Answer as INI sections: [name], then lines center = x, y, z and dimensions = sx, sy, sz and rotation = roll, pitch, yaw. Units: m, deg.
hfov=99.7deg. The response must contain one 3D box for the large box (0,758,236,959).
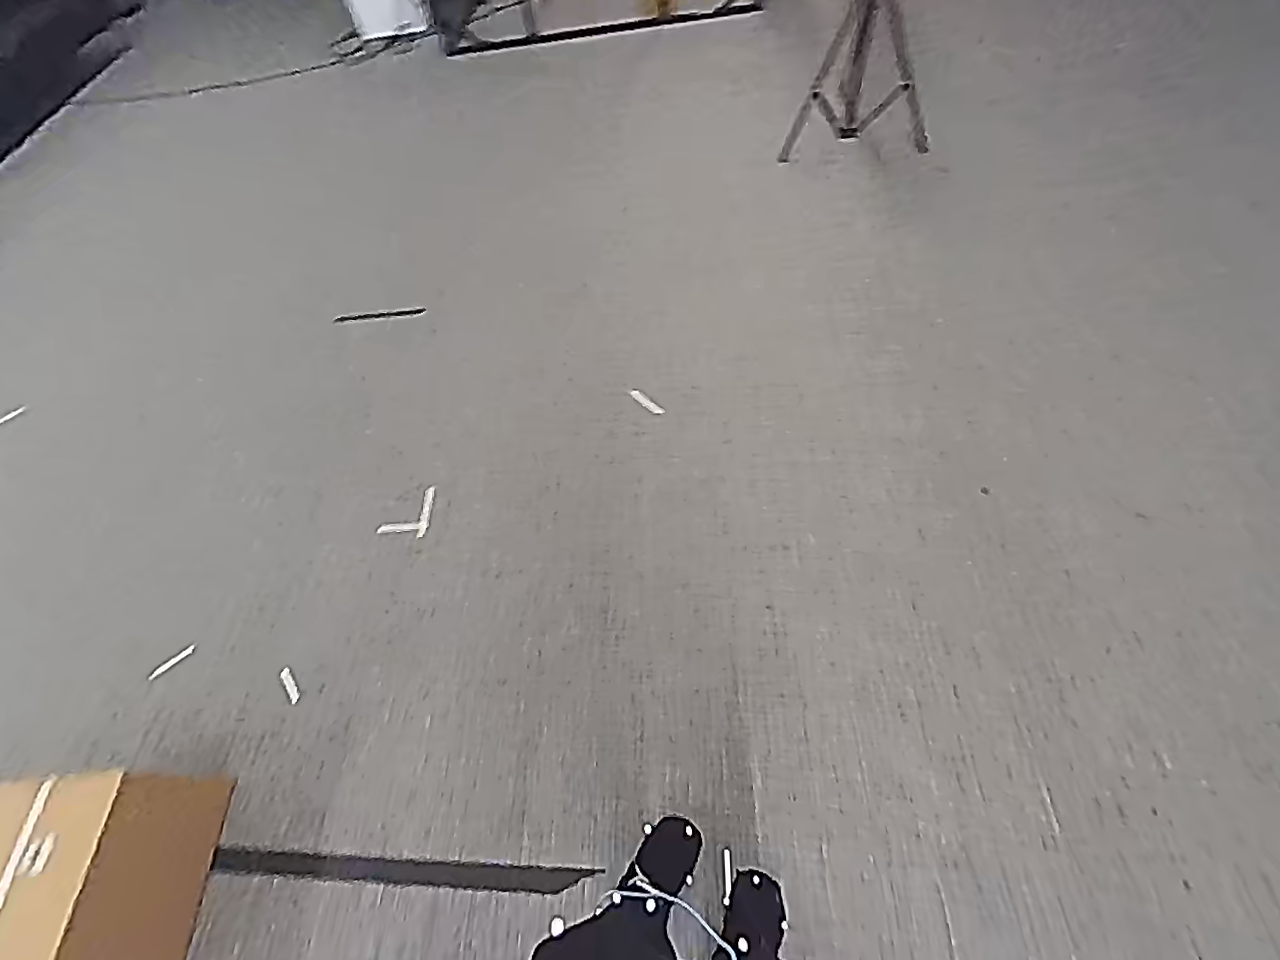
[large box]
center = -1.172, 0.846, 1.153
dimensions = 0.320, 0.320, 0.408
rotation = -6, 57, 3
